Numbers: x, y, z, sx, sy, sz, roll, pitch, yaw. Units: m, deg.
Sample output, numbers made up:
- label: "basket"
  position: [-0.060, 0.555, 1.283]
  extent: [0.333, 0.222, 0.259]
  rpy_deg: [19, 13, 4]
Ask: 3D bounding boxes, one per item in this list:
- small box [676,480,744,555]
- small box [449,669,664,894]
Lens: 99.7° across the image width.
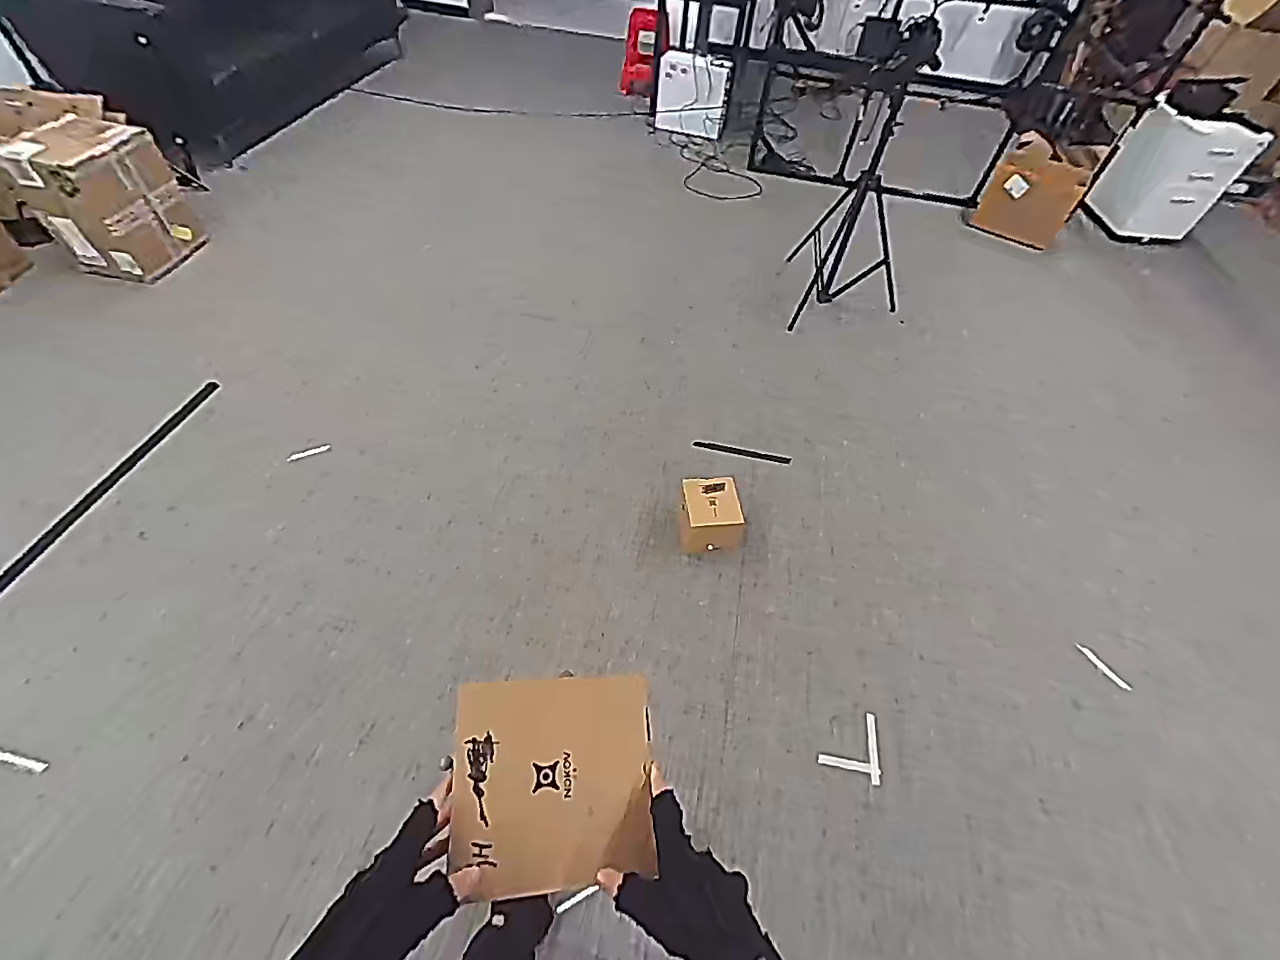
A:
- label: "small box"
  position: [0.215, 0.121, 1.721]
  extent: [0.168, 0.176, 0.179]
  rpy_deg: [-3, 53, -7]
- label: "small box"
  position: [-0.086, 0.286, 0.539]
  extent: [0.179, 0.176, 0.168]
  rpy_deg: [2, 63, -12]
